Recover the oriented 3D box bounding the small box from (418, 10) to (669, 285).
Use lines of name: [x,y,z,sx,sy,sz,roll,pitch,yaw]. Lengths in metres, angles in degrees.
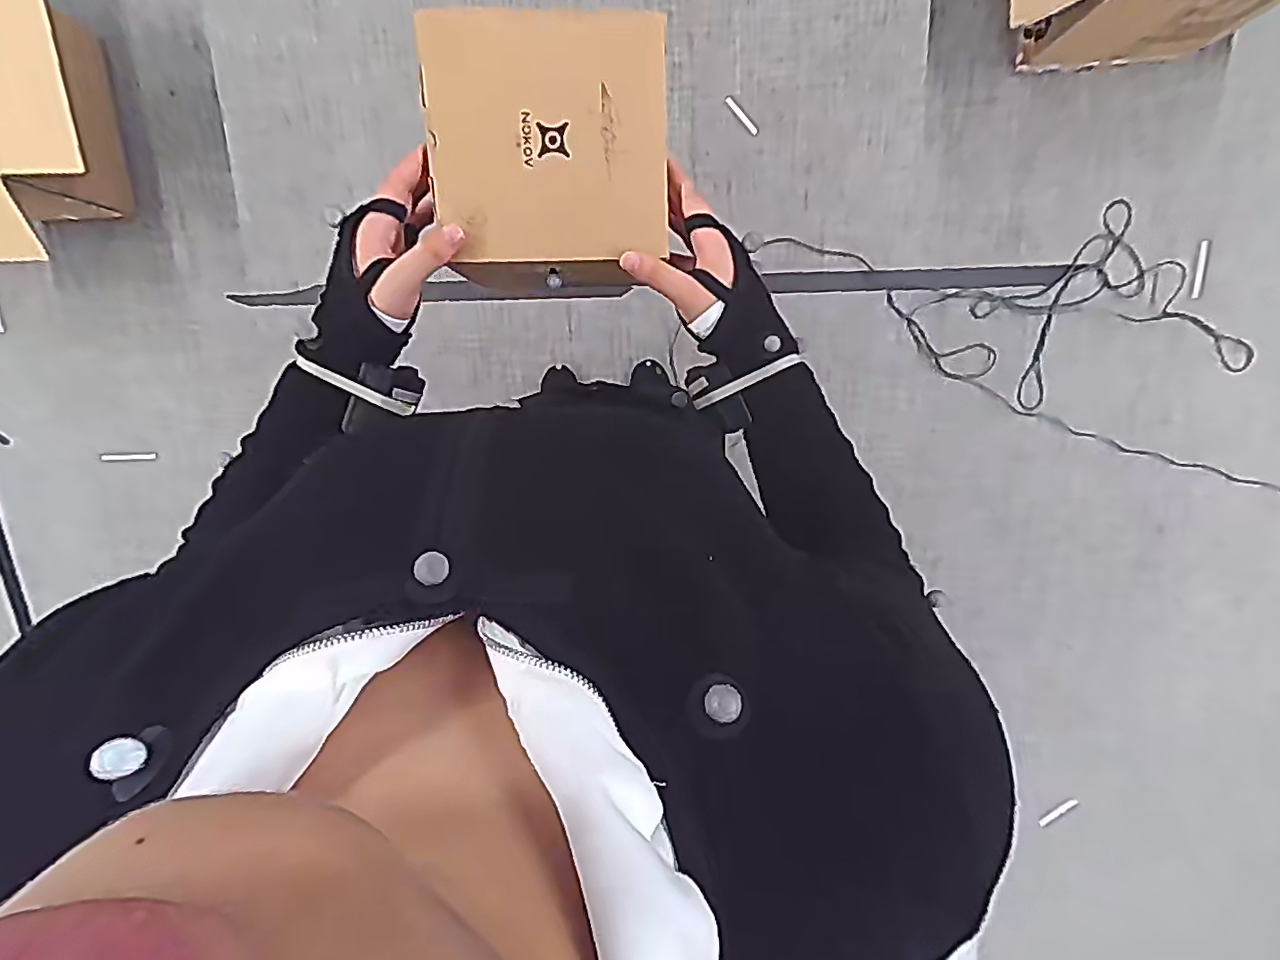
small box: [-0.073,-0.269,0.477,0.179,0.176,0.168,-4,104,-4]
